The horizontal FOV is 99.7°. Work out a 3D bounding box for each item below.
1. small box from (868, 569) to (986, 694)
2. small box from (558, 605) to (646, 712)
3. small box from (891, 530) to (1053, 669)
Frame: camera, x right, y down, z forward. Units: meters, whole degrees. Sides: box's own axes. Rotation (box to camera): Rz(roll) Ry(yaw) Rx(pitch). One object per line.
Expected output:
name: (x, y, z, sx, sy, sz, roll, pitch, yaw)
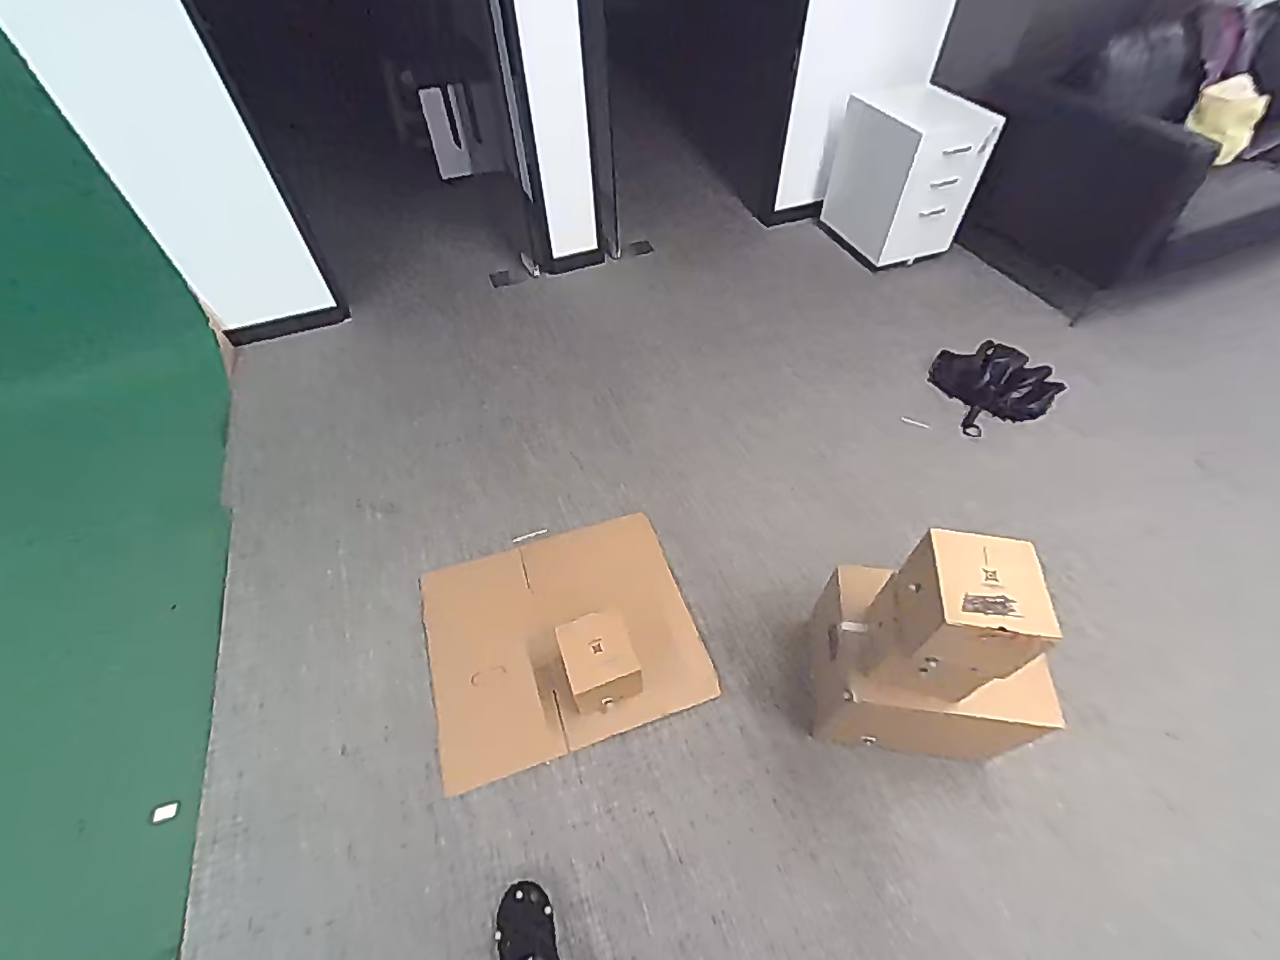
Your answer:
small box: (0.557, 0.301, 1.061, 0.179, 0.176, 0.168, 10, 51, 9)
small box: (-0.092, 0.444, 1.339, 0.168, 0.176, 0.179, -19, 53, -10)
small box: (0.549, 0.207, 0.922, 0.168, 0.176, 0.179, 5, 53, 6)
